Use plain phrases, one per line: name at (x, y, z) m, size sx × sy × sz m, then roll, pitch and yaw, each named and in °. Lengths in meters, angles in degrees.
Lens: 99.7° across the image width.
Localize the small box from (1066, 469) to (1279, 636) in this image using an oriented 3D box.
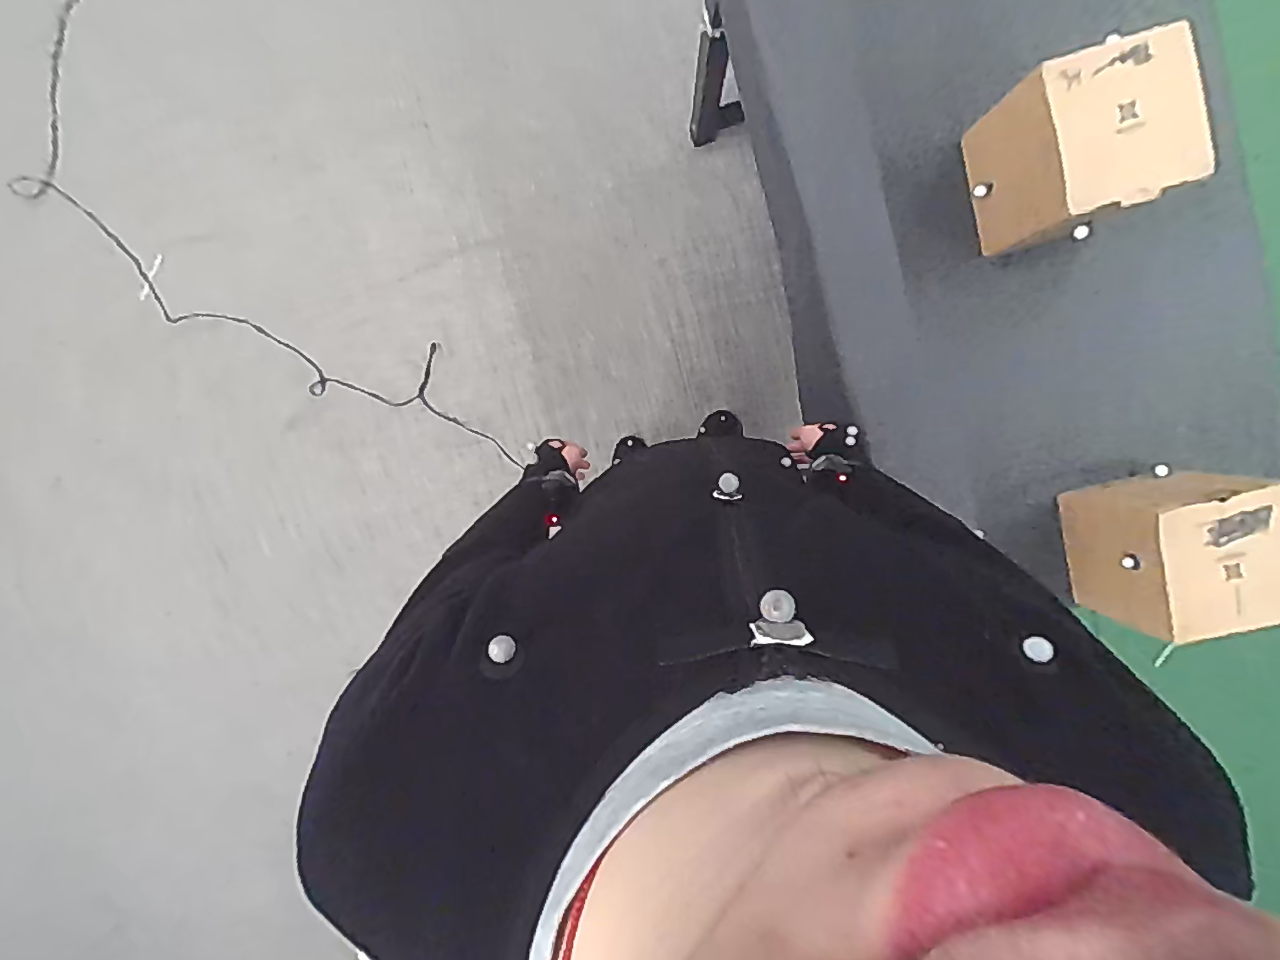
small box at (0.736, 0.086, 0.745) m, size 0.168 × 0.176 × 0.179 m, roll -14°, pitch 96°, yaw 1°

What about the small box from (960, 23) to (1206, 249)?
small box at (0.553, -0.419, 0.697) m, size 0.168 × 0.176 × 0.179 m, roll -16°, pitch 96°, yaw 1°
